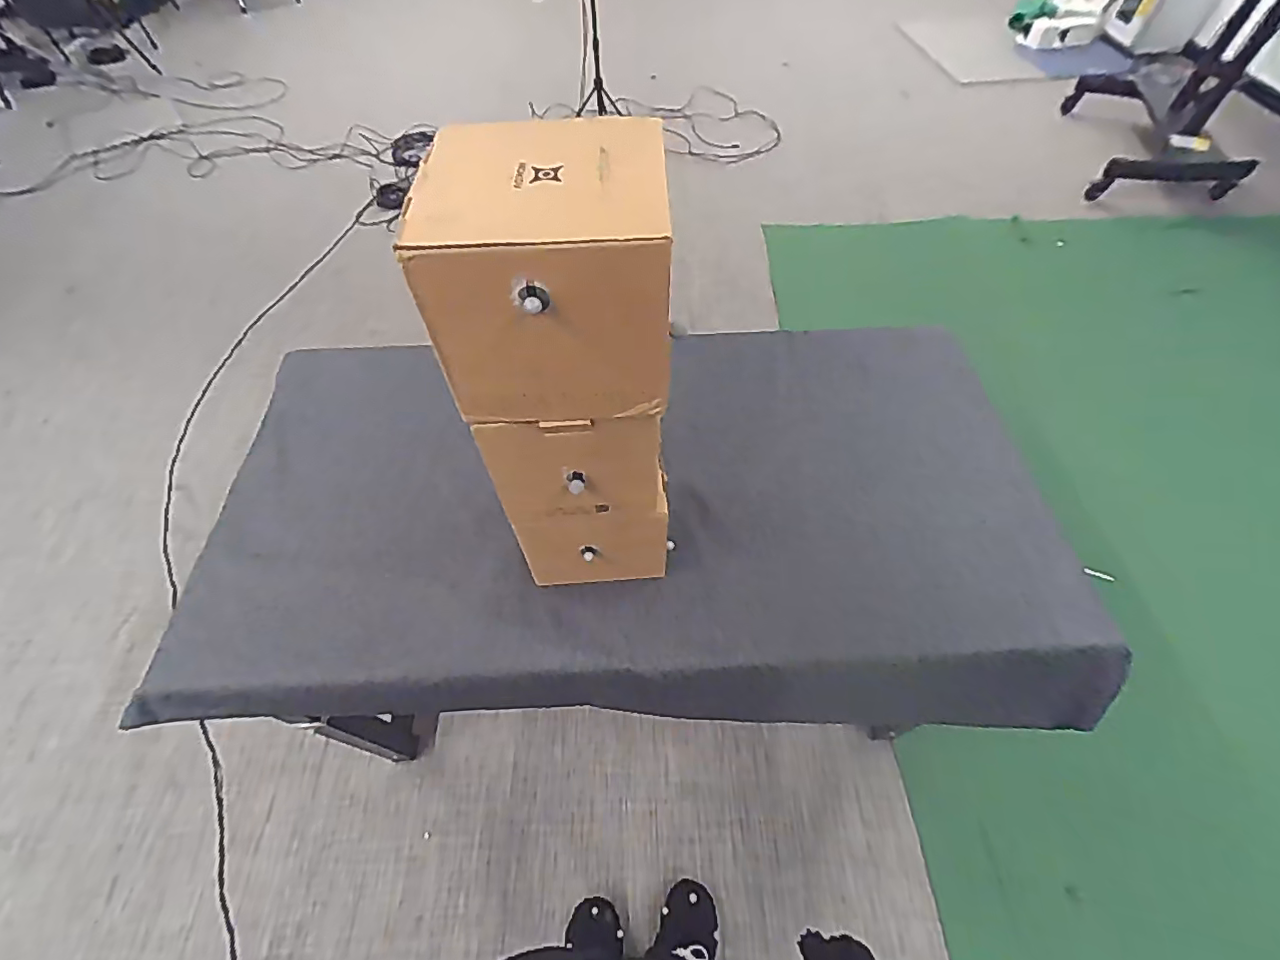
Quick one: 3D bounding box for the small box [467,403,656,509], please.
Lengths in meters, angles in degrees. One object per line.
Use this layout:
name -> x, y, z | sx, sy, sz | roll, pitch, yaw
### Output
small box -> -0.070, -0.079, 0.573 | 0.168, 0.176, 0.179 | -4, 56, -1

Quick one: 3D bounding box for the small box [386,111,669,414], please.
small box -> -0.068, -0.166, 0.436 | 0.179, 0.176, 0.168 | -1, 57, -1

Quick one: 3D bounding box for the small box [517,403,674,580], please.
small box -> -0.058, 0.018, 0.705 | 0.179, 0.176, 0.168 | -6, 56, -4
